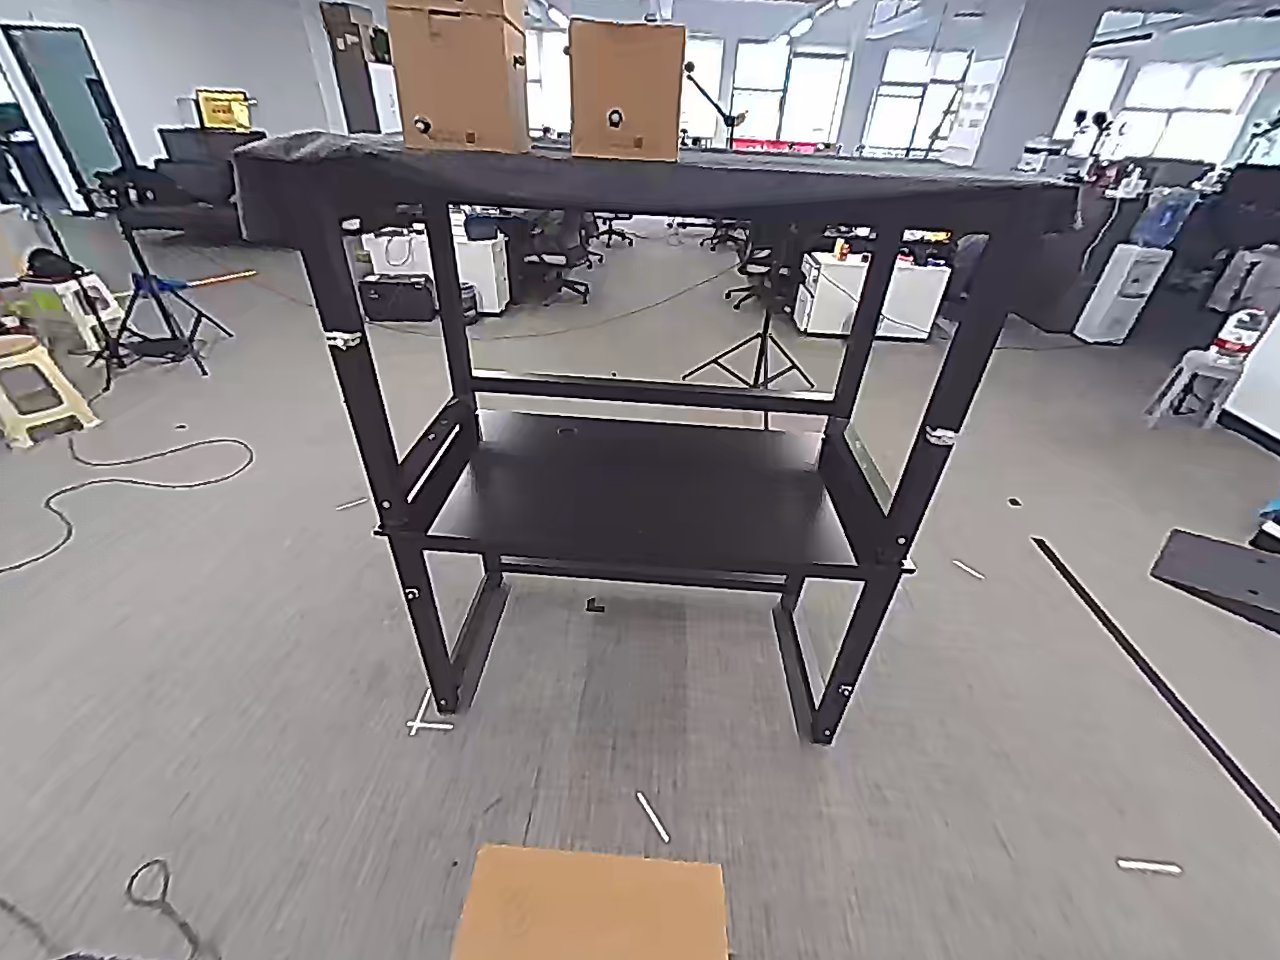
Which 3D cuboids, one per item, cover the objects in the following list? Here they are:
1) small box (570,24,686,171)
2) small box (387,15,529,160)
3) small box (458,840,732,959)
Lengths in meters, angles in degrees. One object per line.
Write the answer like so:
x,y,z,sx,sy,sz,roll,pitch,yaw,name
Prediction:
-0.017,-0.598,0.861,0.168,0.176,0.179,3,32,1,small box
-0.273,-0.612,0.861,0.168,0.176,0.179,3,32,-1,small box
-0.034,0.366,0.341,0.168,0.176,0.179,5,36,0,small box
